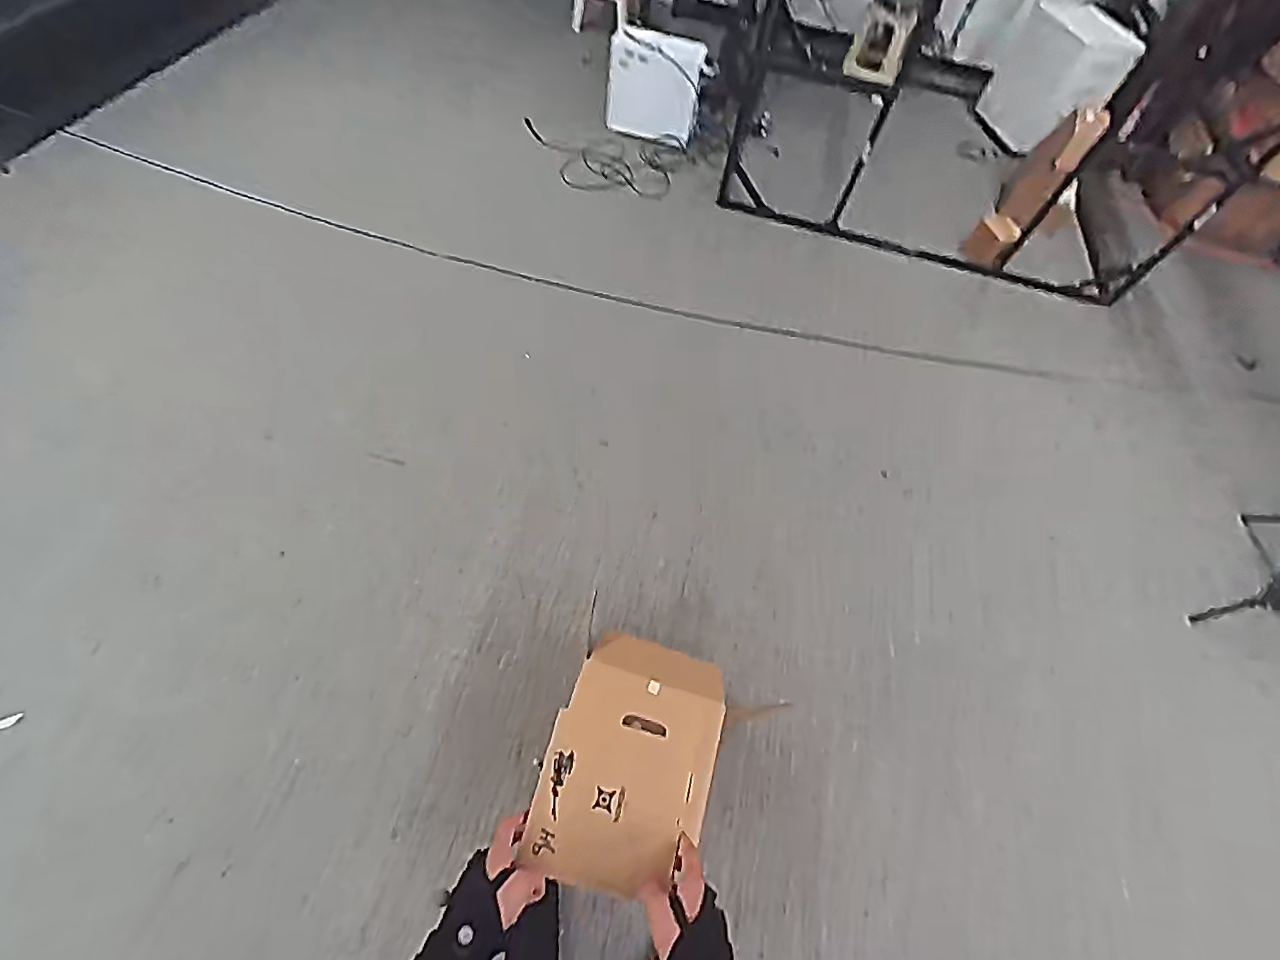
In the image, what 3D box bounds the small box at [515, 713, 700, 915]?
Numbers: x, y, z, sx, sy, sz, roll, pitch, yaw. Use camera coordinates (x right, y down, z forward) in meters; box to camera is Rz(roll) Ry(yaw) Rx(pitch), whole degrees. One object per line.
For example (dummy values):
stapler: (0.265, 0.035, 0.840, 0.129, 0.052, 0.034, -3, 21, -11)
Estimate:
small box: (-0.043, 0.404, 0.680, 0.179, 0.176, 0.168, 17, 62, -1)
